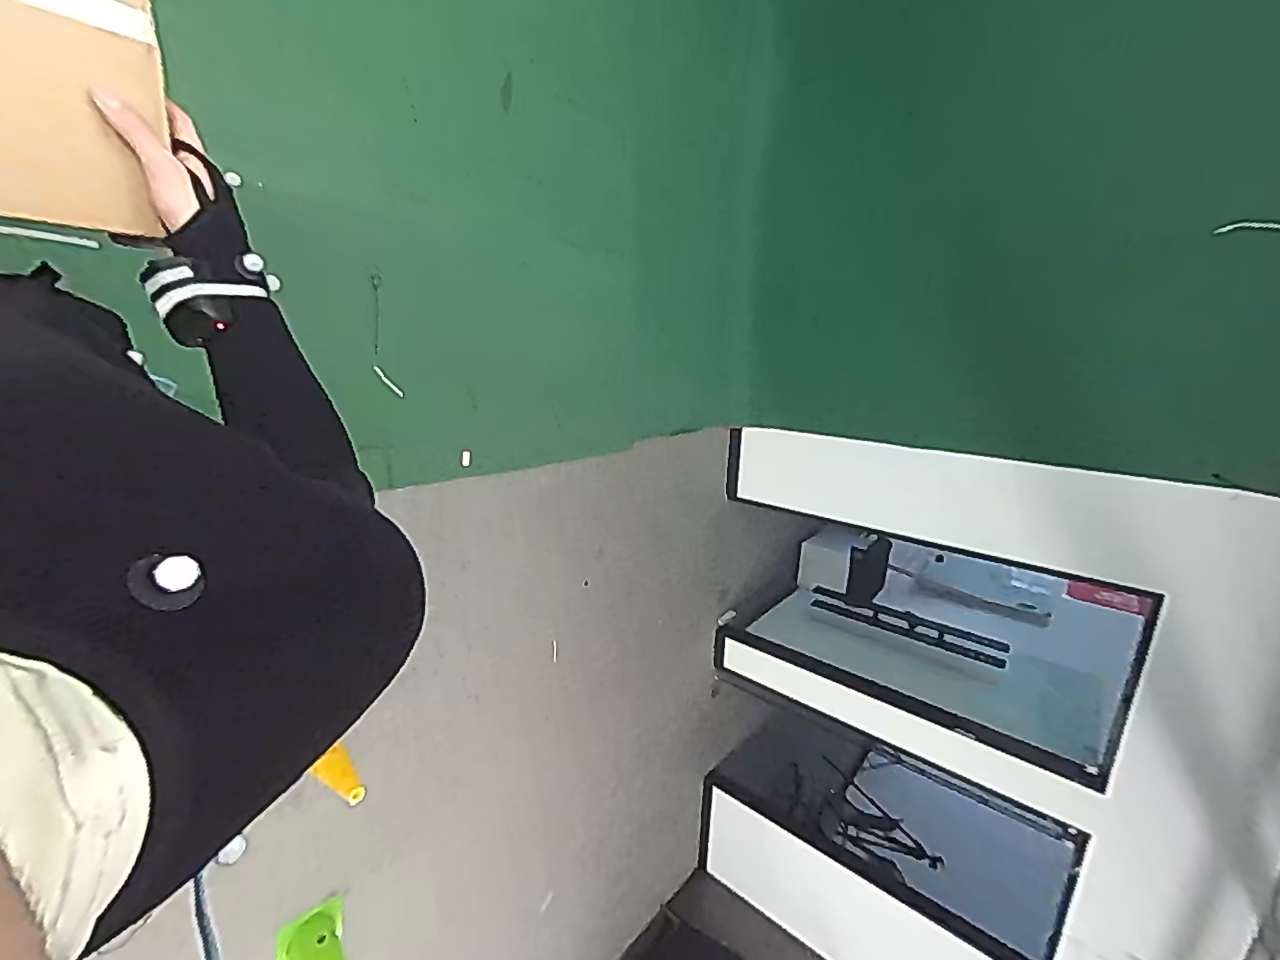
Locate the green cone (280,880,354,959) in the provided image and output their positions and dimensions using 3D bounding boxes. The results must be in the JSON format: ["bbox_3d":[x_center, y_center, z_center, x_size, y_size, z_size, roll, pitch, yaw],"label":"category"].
[{"bbox_3d":[-0.974,1.521,1.727,0.200,0.368,0.202,-6,105,-51],"label":"green cone"}]
